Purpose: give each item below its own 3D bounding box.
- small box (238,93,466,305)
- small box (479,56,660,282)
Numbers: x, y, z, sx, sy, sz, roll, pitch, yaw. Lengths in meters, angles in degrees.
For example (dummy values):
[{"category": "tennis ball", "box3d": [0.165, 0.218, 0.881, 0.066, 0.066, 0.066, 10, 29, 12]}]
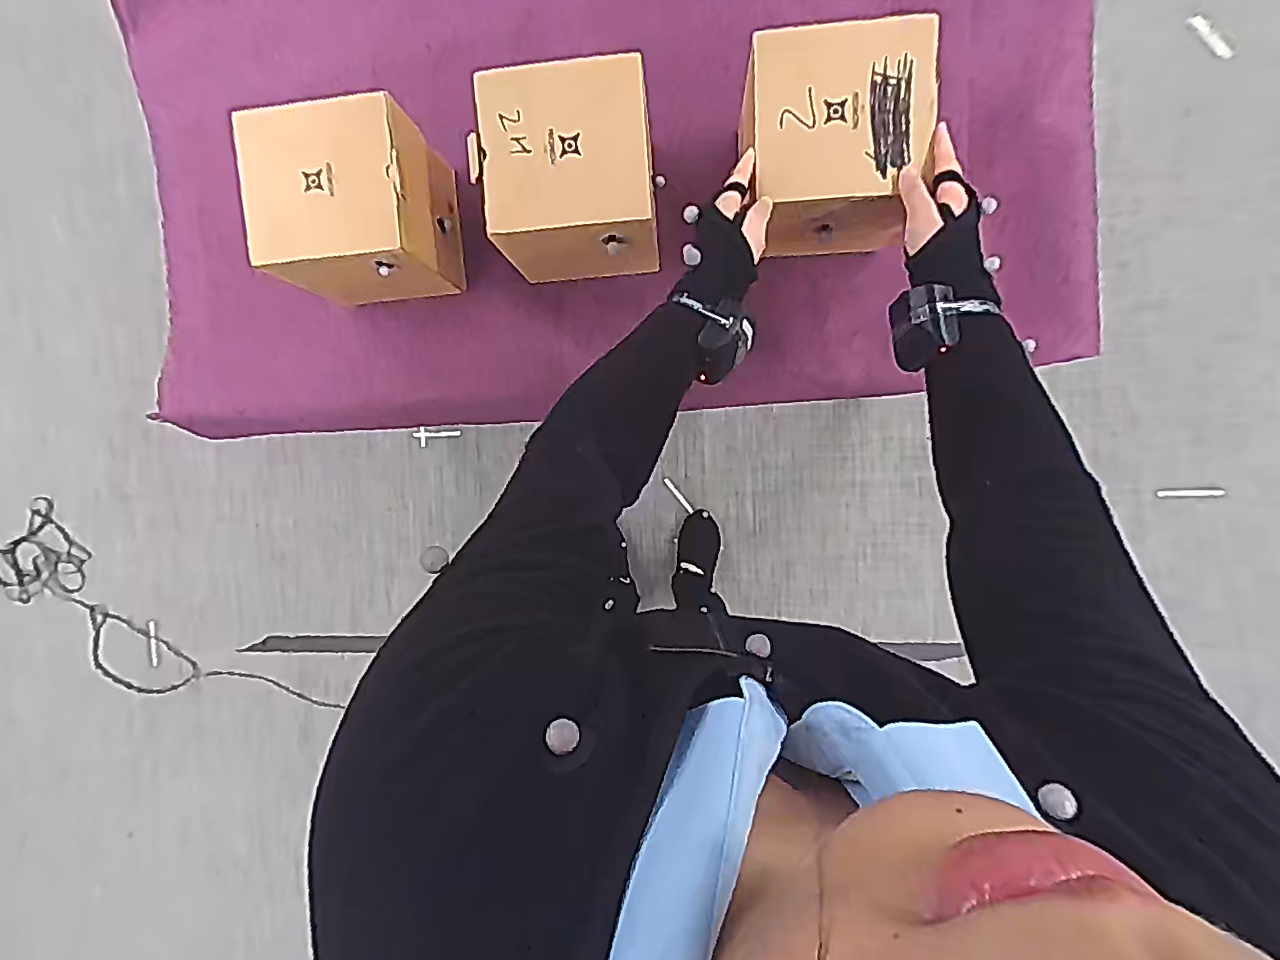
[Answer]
[{"category": "small box", "box3d": [-0.333, -0.321, 0.656, 0.179, 0.176, 0.168, -5, 93, 4]}, {"category": "small box", "box3d": [-0.068, -0.343, 0.631, 0.179, 0.176, 0.168, -4, 93, 6]}]
